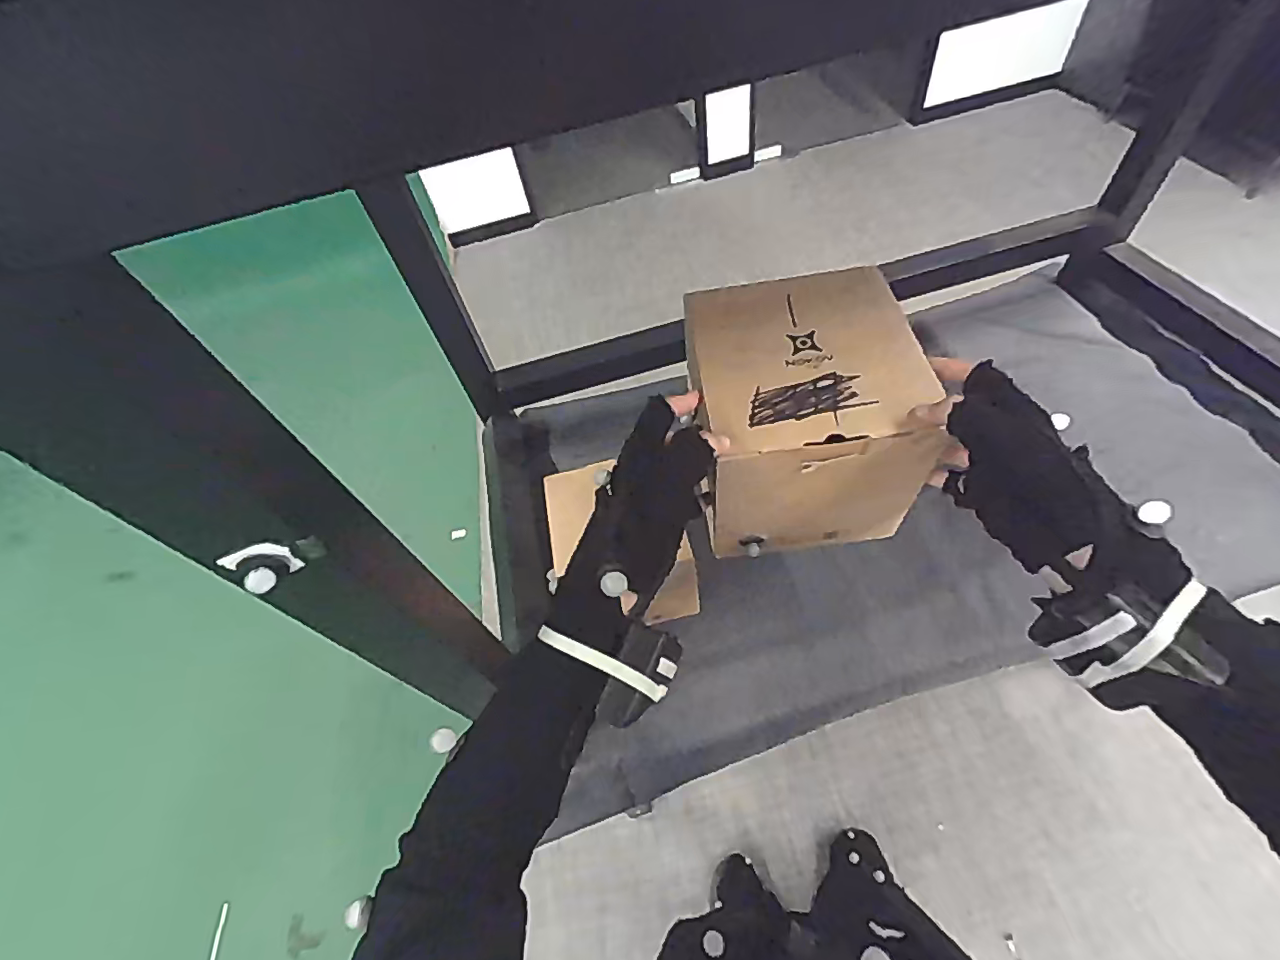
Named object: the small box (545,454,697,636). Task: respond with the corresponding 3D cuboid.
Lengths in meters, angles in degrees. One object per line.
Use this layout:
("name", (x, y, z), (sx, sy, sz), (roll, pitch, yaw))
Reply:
("small box", (-0.022, 0.097, 0.734), (0.168, 0.176, 0.179), (-13, 52, -1))
